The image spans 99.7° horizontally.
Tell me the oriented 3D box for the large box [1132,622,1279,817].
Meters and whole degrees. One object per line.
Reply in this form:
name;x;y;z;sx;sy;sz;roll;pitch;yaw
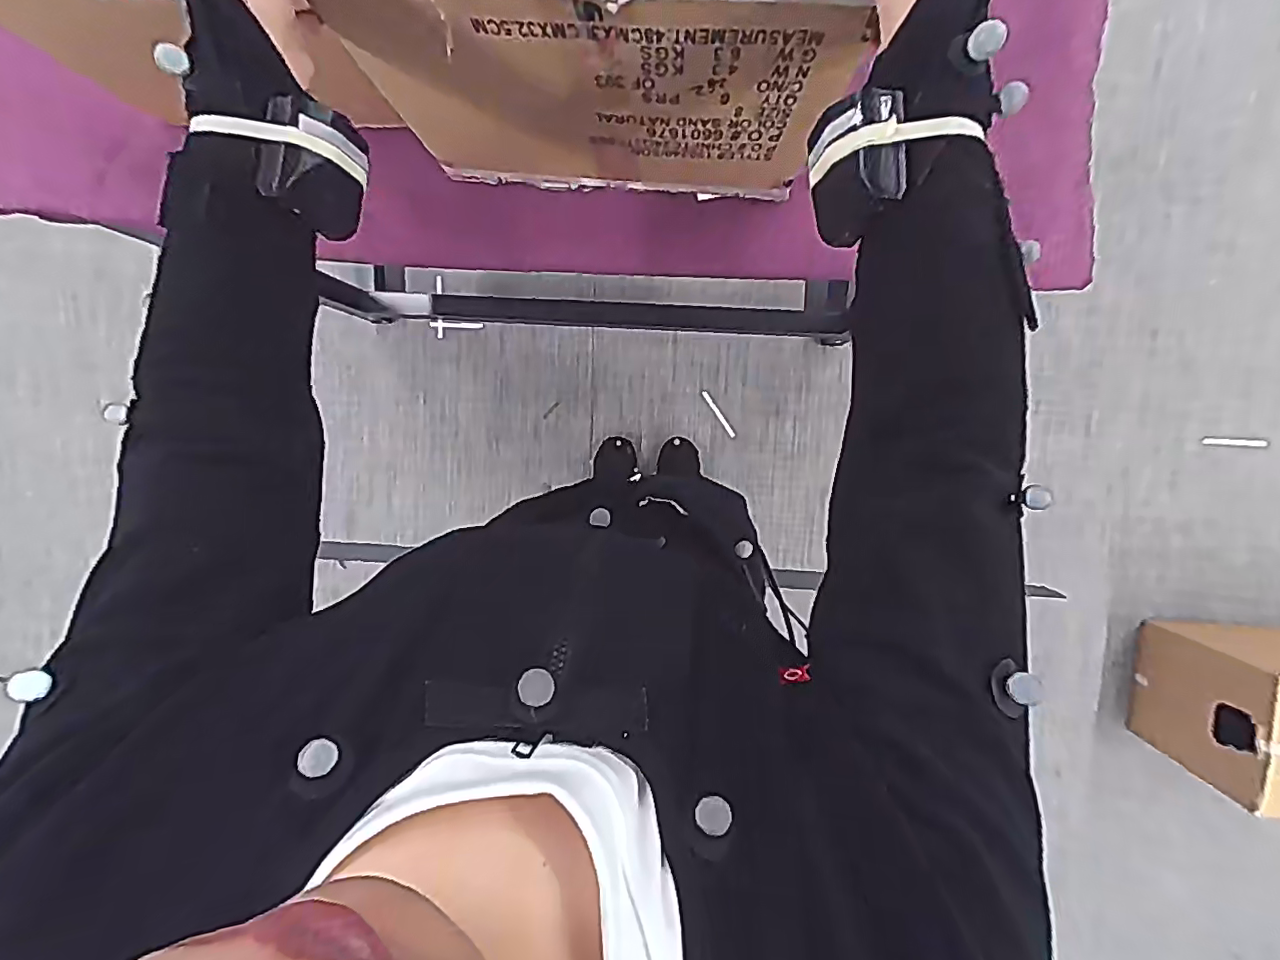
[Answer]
large box;1.476;0.530;1.239;0.408;0.320;0.320;1;95;3
